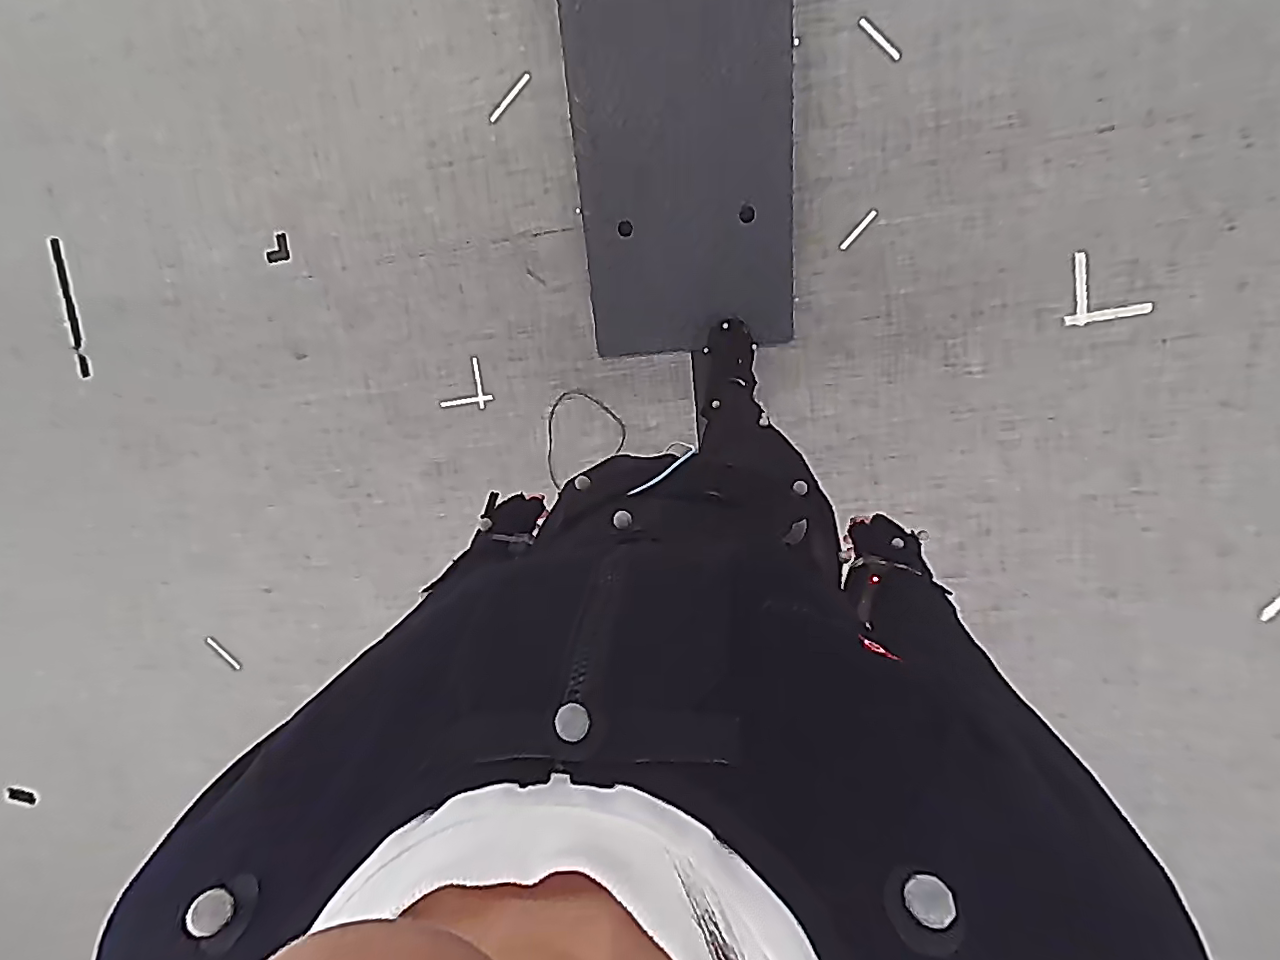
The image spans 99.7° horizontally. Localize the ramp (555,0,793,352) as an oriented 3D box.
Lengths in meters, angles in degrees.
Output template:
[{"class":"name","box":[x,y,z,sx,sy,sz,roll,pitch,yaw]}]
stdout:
[{"class":"ramp","box":[0.085,-0.808,1.194,0.509,0.206,0.991,-5,100,8]}]
